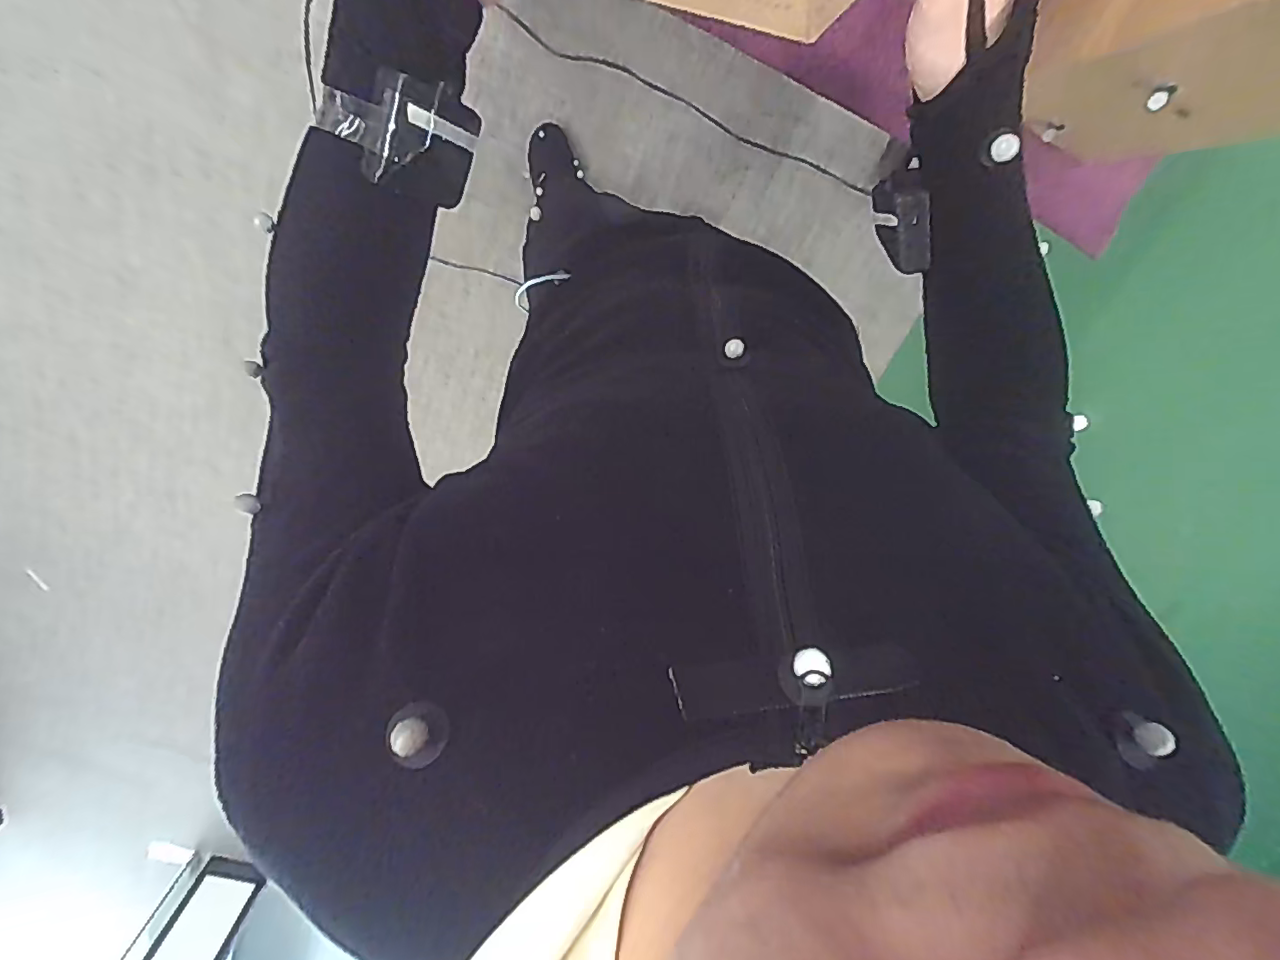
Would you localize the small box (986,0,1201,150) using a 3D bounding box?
[{"bbox_3d":[0.531,-0.481,0.578,0.179,0.176,0.168,24,113,-10],"label":"small box"}]

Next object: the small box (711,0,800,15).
[{"bbox_3d":[0.067,-0.373,0.259,0.168,0.179,0.176,-48,154,-8],"label":"small box"}]
